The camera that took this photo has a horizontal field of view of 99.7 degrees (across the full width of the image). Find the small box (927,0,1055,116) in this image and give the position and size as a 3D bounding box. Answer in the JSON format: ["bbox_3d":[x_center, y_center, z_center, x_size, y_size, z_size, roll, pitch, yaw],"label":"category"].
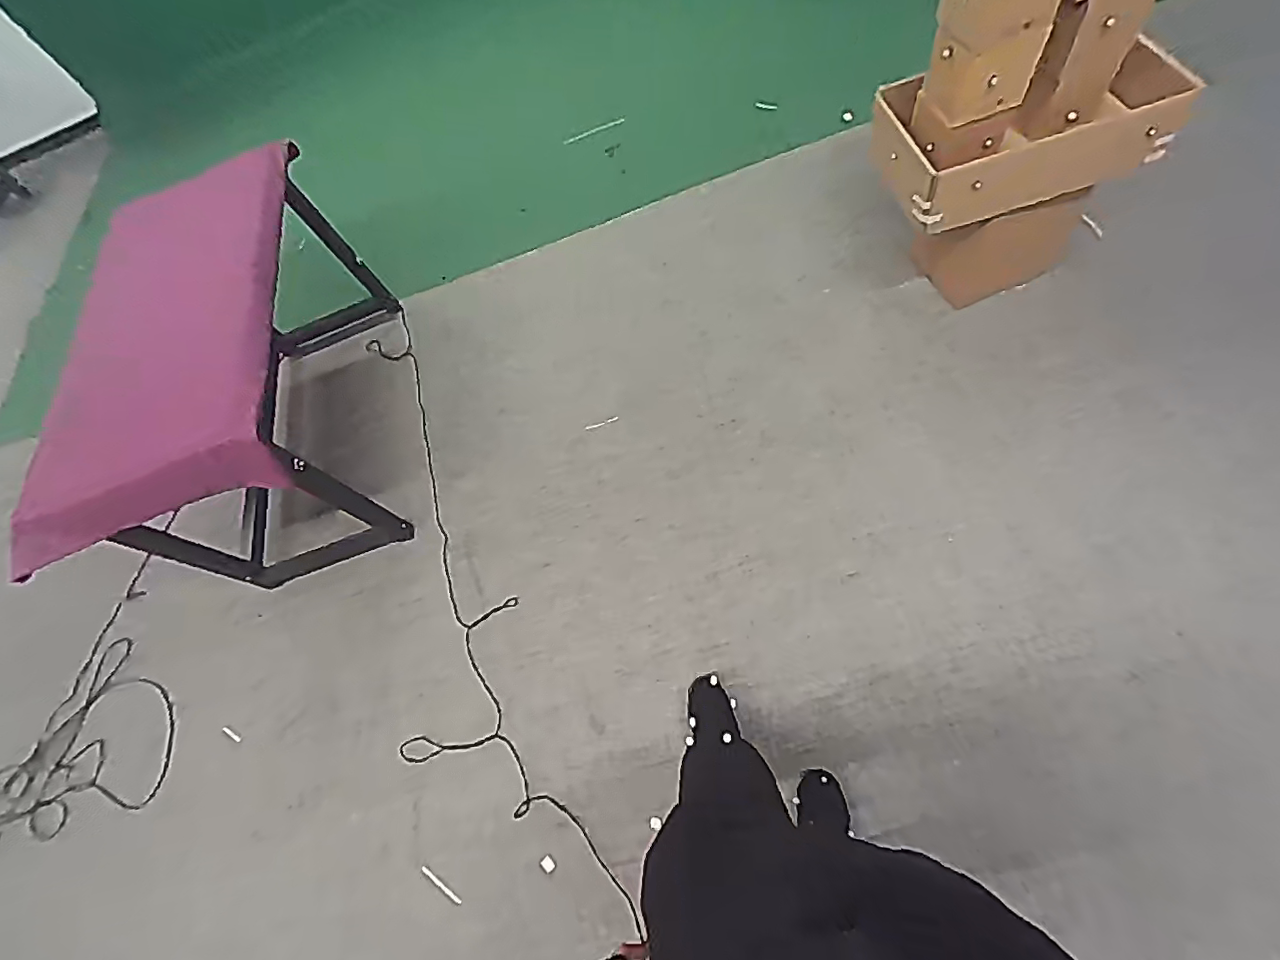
[{"bbox_3d":[0.808,-0.991,1.265,0.168,0.176,0.179,-17,62,5],"label":"small box"}]

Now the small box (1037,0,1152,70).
[{"bbox_3d":[1.048,-1.103,1.250,0.179,0.176,0.168,-22,62,6],"label":"small box"}]
